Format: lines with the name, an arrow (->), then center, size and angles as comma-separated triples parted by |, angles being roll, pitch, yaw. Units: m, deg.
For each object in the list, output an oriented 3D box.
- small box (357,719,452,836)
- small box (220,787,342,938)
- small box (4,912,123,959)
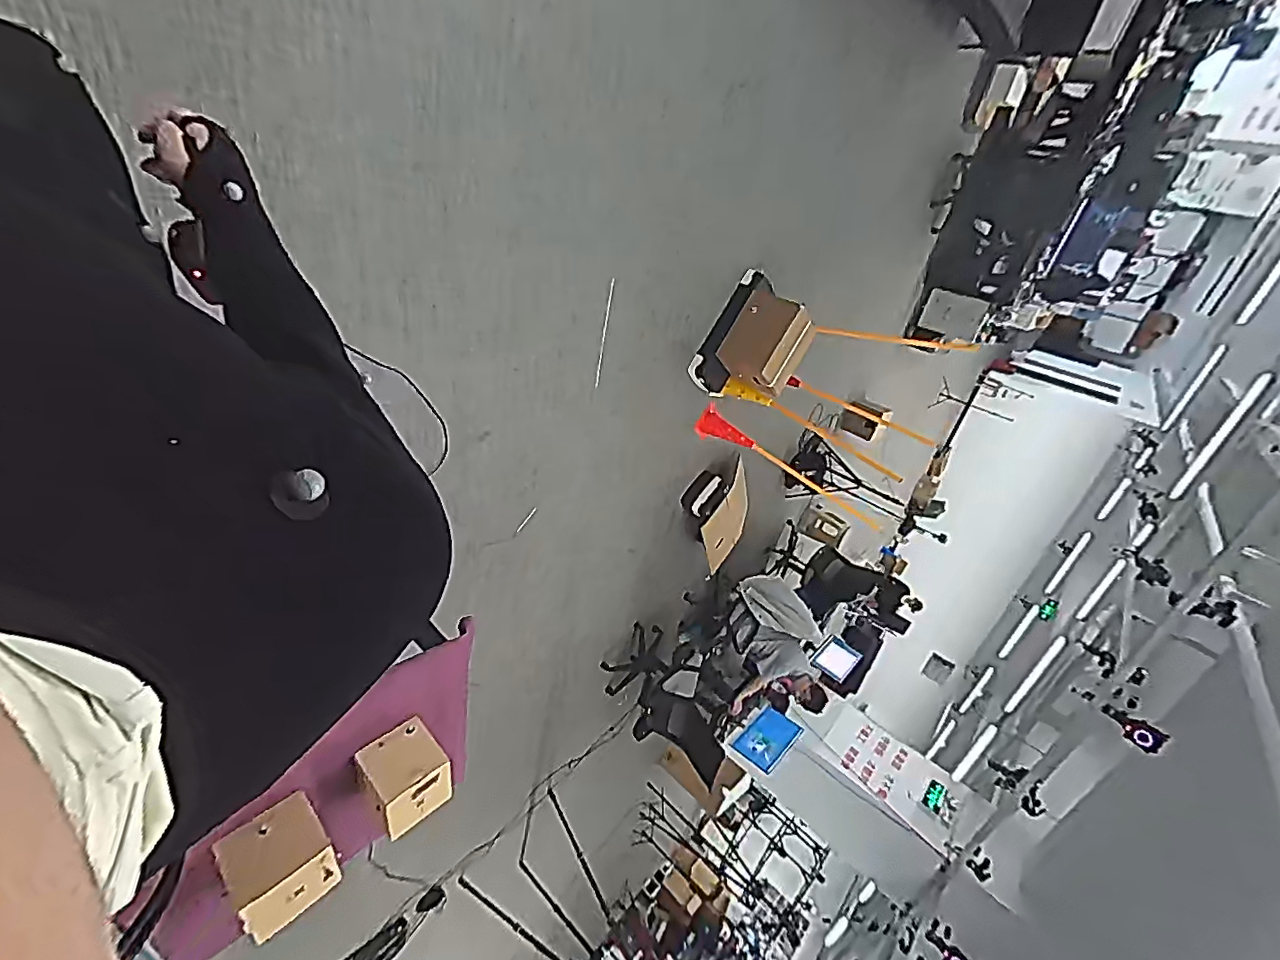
small box -> -0.600, 0.747, 1.380 | 0.168, 0.176, 0.179 | -24, 136, -42
small box -> -0.791, 0.832, 1.190 | 0.179, 0.176, 0.168 | -24, 135, -42
small box -> -1.020, 0.922, 0.947 | 0.168, 0.176, 0.179 | -19, 131, -47
